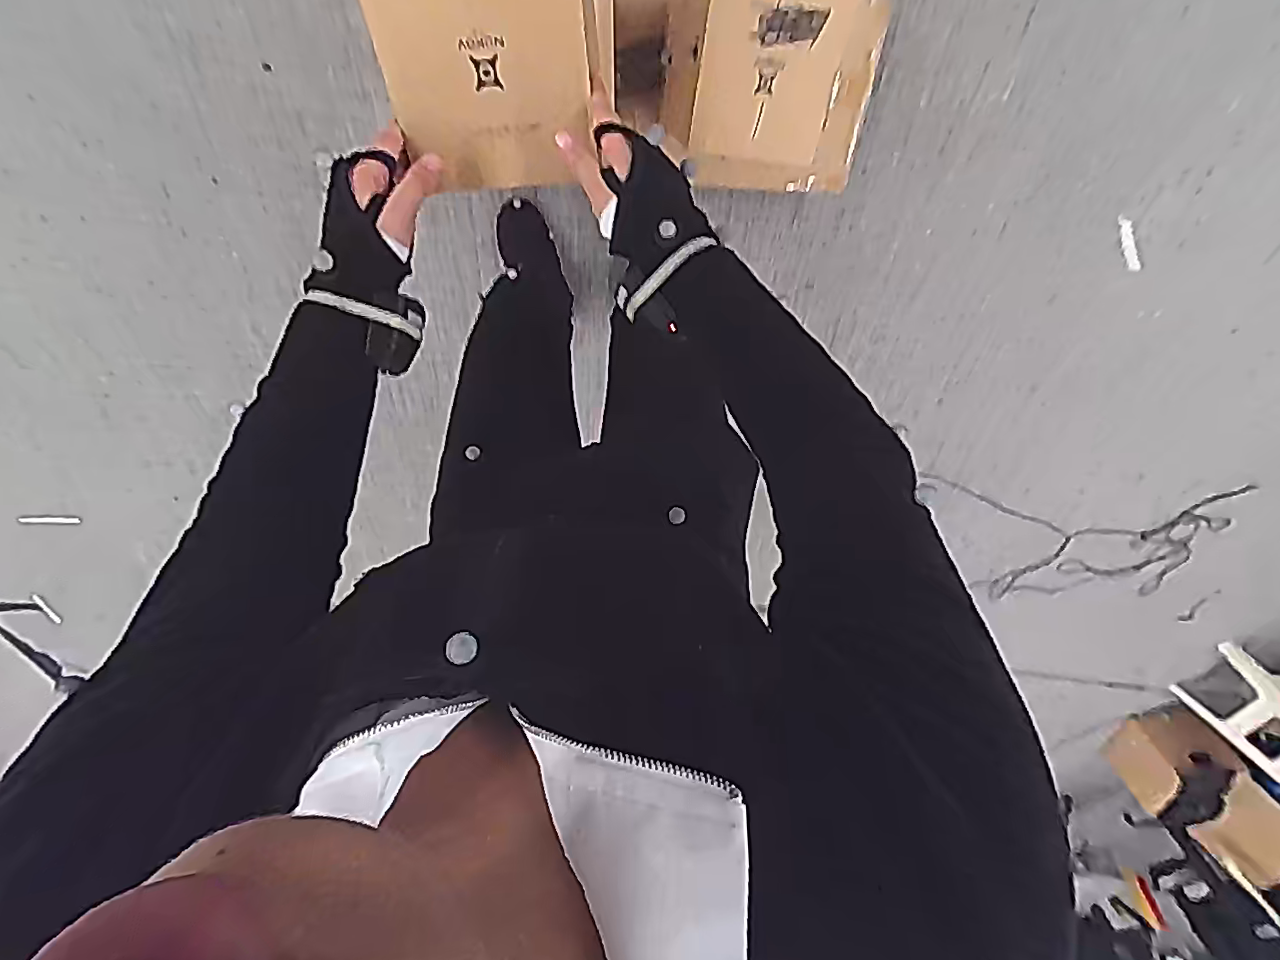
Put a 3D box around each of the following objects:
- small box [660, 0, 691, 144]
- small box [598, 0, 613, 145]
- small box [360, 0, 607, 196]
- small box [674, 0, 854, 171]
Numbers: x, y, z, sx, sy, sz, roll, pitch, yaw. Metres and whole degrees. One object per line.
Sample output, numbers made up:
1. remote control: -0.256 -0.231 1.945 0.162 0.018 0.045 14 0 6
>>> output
1. small box: 0.123 -0.624 0.832 0.168 0.176 0.179 1 128 -5
2. small box: -0.125 -0.620 0.812 0.168 0.176 0.179 -1 129 -4
3. small box: -0.119 -0.374 0.474 0.168 0.176 0.179 -4 135 2
4. small box: 0.143 -0.524 0.703 0.168 0.176 0.179 4 128 -7
